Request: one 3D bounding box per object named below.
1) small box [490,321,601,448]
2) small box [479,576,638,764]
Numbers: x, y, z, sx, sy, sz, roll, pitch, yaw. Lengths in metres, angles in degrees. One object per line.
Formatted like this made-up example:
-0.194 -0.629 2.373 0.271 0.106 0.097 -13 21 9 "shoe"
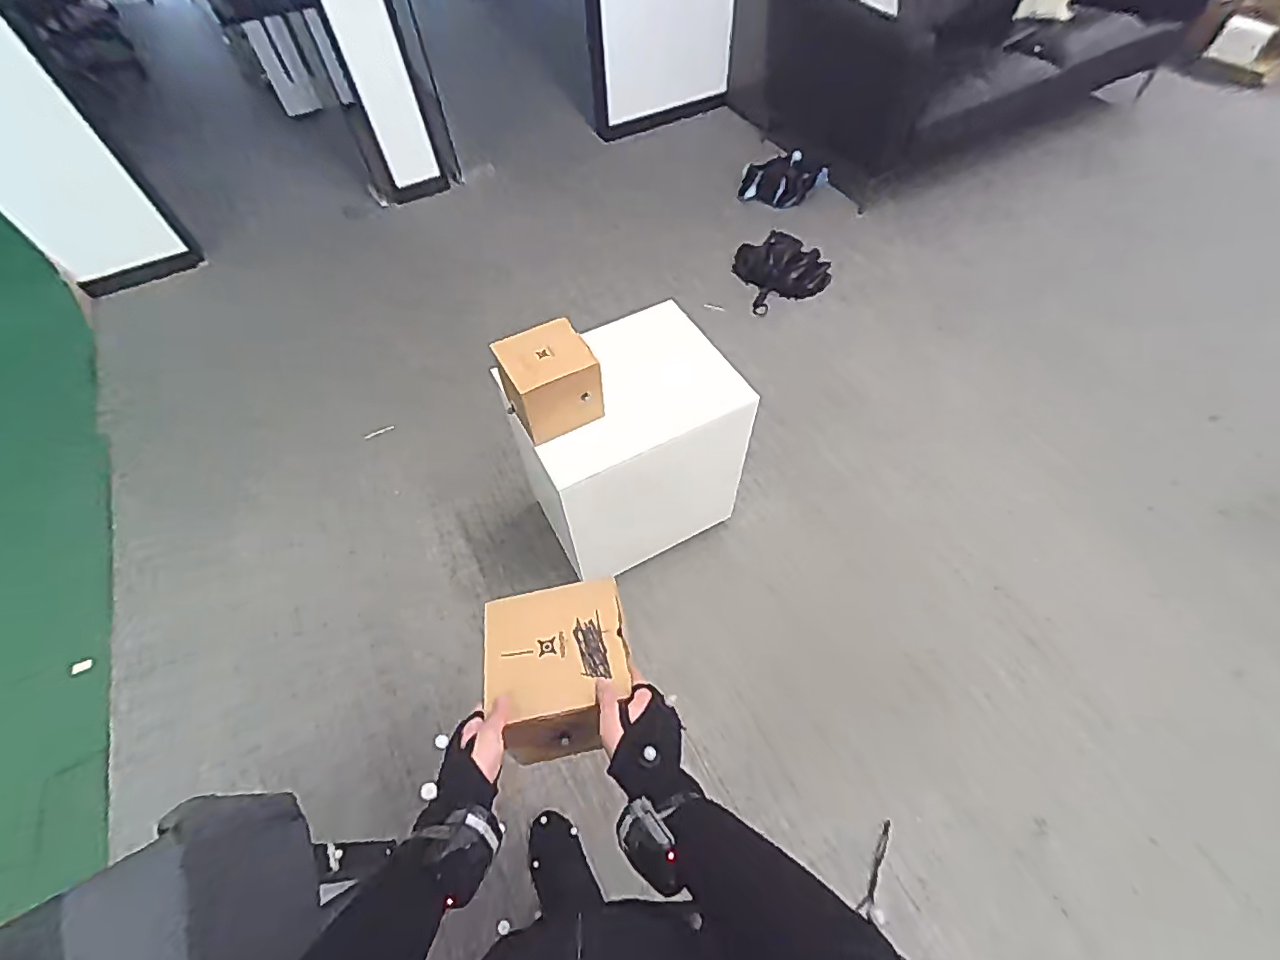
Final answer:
-0.194 -0.201 1.151 0.179 0.176 0.168 -26 59 -17 "small box"
-0.100 0.251 0.709 0.179 0.176 0.168 -10 48 -3 "small box"
